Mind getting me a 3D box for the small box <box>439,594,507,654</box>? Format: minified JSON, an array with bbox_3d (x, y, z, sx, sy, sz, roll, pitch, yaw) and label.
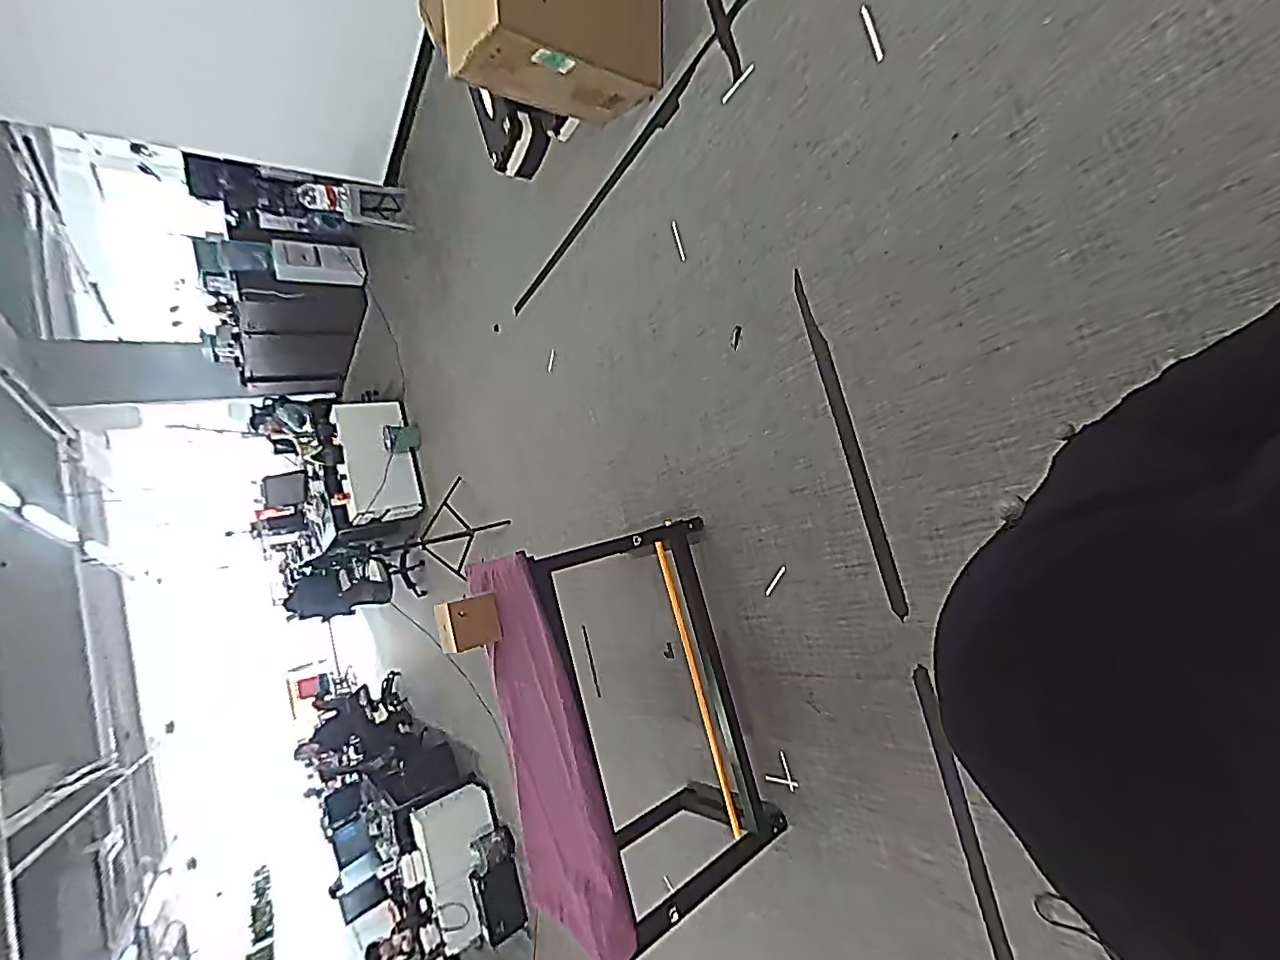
[{"bbox_3d":[-0.599,0.511,1.940,0.168,0.176,0.179,-24,79,52],"label":"small box"}]
